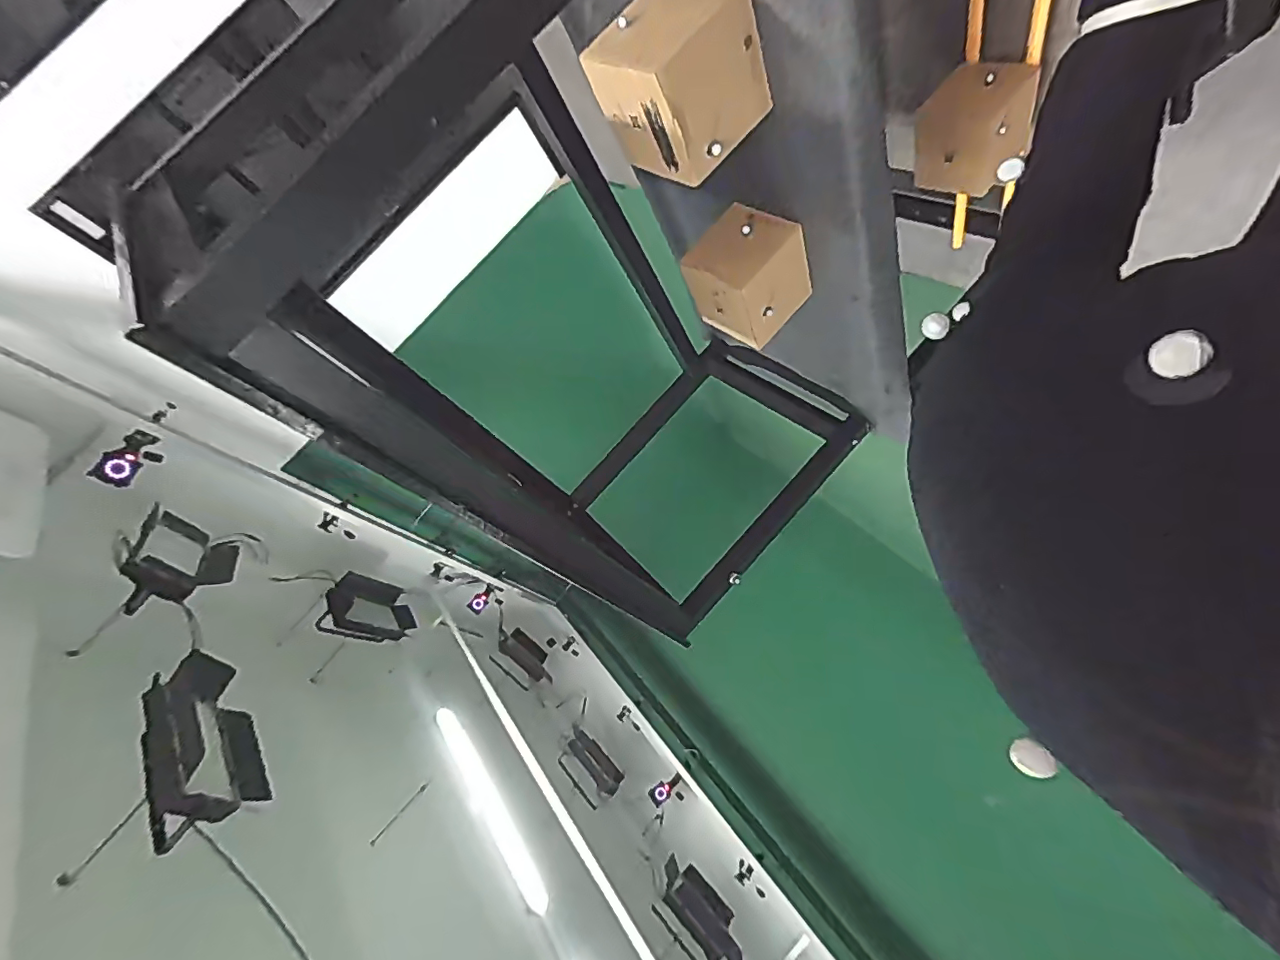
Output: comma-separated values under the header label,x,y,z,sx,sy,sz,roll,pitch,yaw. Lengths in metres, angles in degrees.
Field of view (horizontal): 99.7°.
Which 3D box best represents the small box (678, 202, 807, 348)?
label,x,y,z,sx,sy,sz,roll,pitch,yaw
small box,0.210,-0.404,1.068,0.168,0.176,0.179,40,175,34
